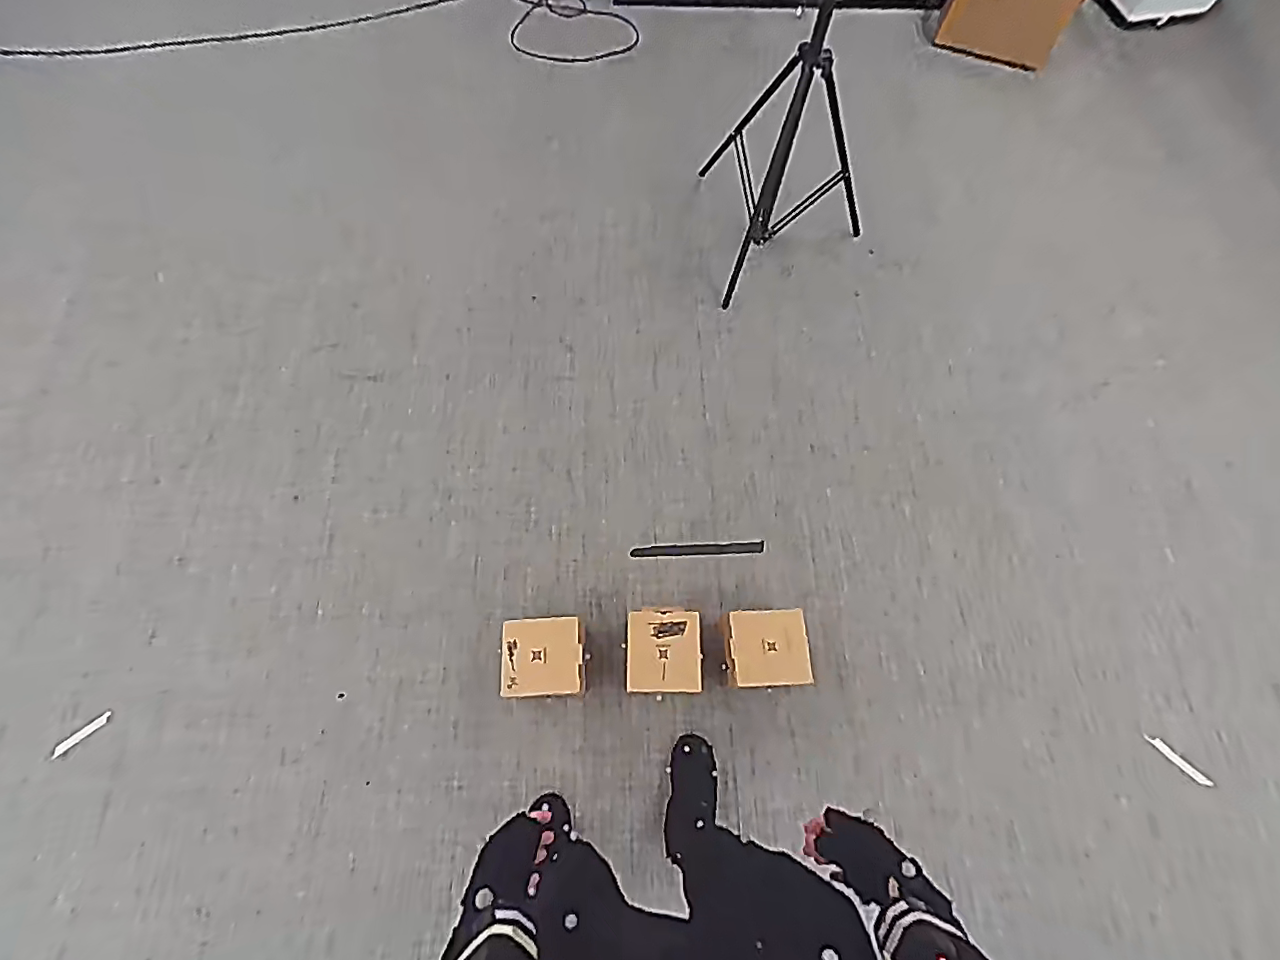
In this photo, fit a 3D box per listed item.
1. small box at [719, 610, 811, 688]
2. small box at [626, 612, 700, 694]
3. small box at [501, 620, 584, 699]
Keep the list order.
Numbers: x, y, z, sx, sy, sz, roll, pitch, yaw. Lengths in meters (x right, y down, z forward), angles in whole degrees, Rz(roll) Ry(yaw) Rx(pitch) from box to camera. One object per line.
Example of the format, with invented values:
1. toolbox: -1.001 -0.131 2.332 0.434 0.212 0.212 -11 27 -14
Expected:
1. small box: 0.289 0.409 1.298 0.179 0.176 0.168 -2 70 -3
2. small box: 0.050 0.415 1.289 0.168 0.176 0.179 1 69 -1
3. small box: -0.223 0.425 1.280 0.179 0.176 0.168 -2 68 -3
